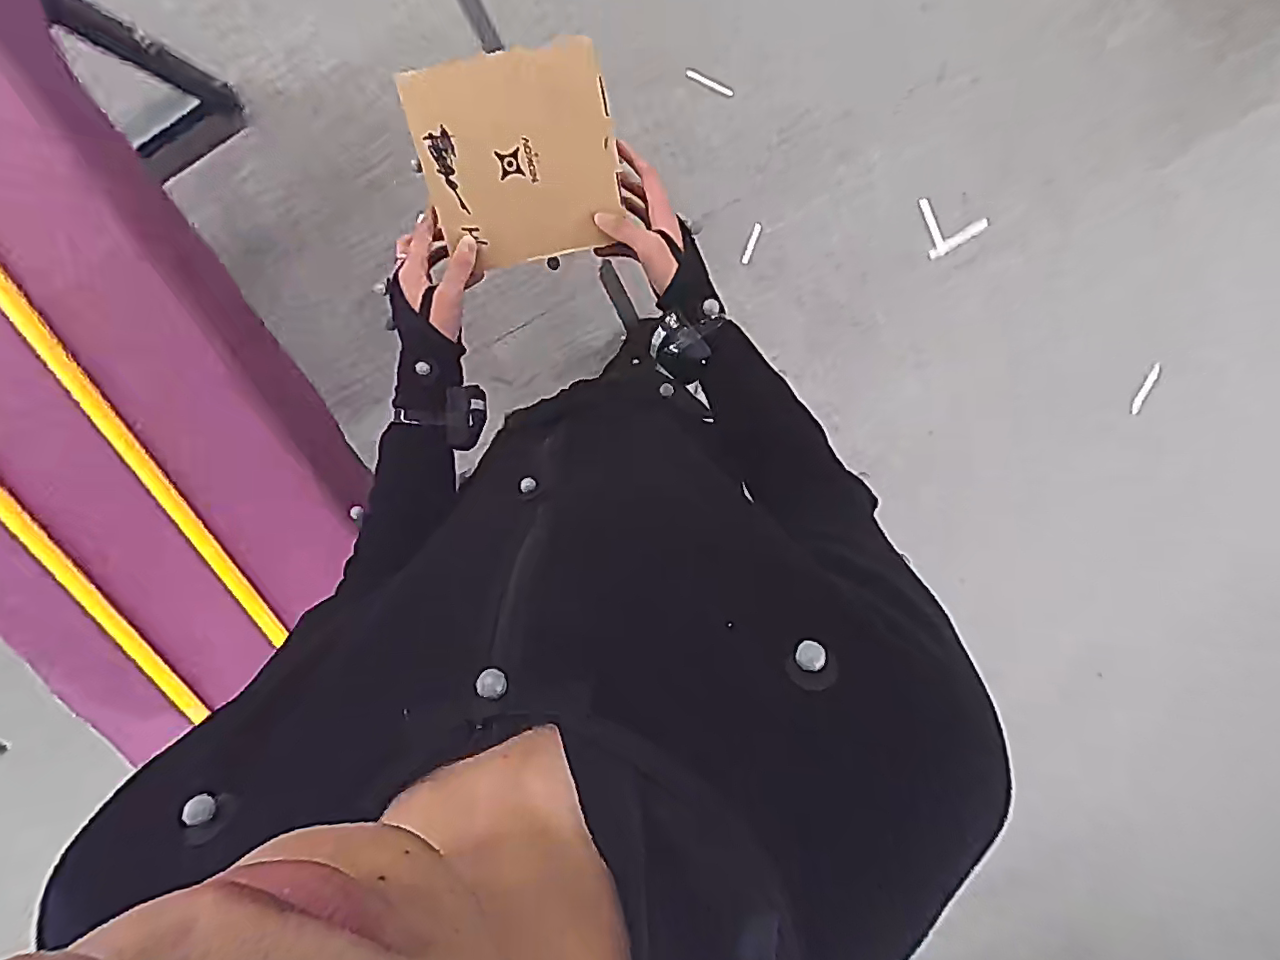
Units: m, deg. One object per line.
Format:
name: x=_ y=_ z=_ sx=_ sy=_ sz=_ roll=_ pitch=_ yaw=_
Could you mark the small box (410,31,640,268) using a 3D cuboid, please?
small box: x=-0.104 y=-0.325 z=0.557 sx=0.179 sy=0.176 sz=0.168 roll=-11 pitch=116 yaw=0
